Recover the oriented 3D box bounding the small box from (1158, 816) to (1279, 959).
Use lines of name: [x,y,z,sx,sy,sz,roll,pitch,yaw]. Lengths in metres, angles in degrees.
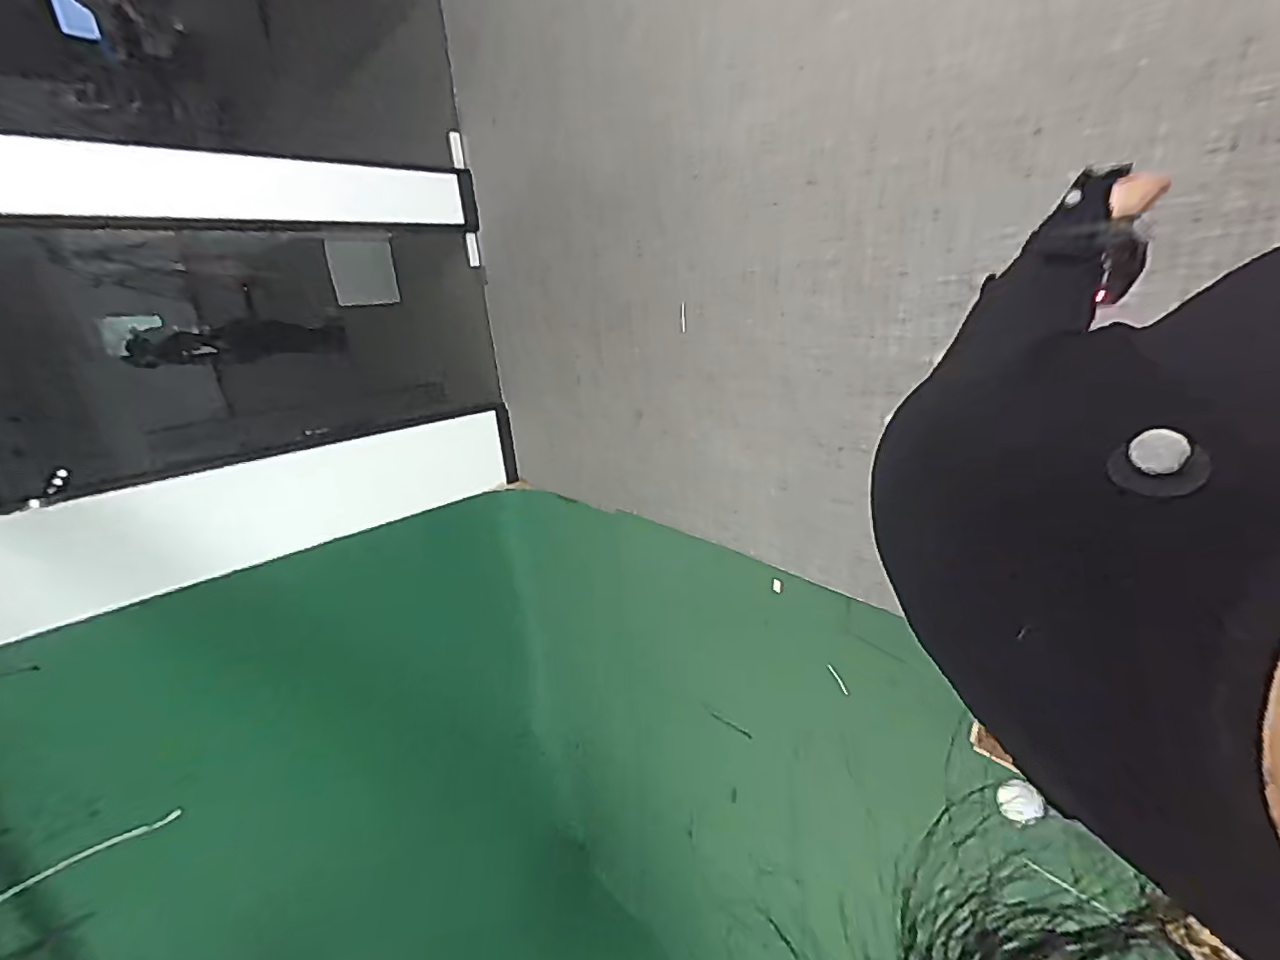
small box: [0.957,0.663,0.828,0.168,0.176,0.179,41,133,32]
